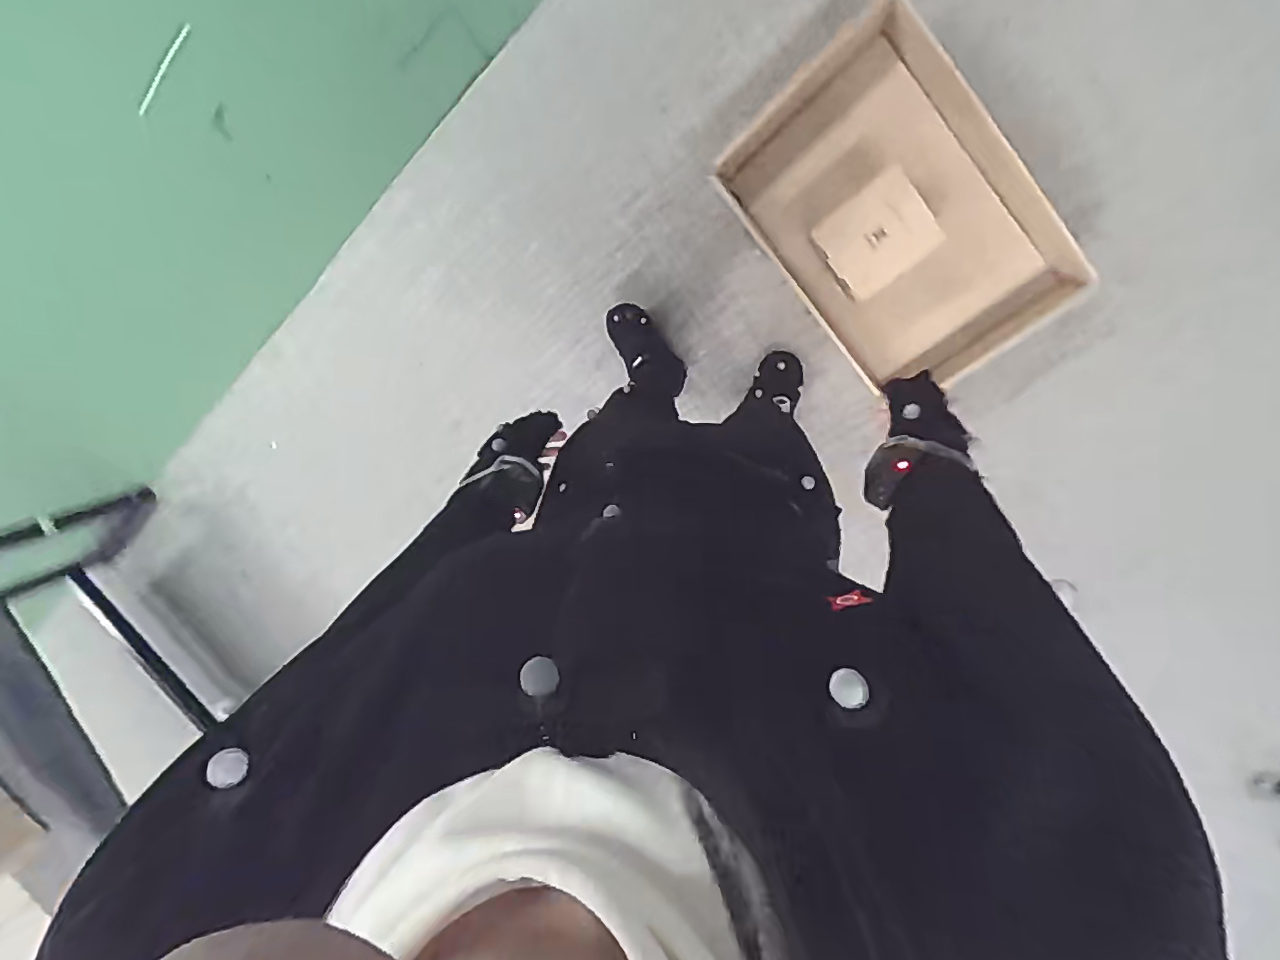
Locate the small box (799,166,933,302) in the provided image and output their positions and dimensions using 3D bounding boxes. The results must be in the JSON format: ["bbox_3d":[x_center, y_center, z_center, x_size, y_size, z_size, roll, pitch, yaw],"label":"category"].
[{"bbox_3d":[0.433,-0.470,1.064,0.179,0.176,0.168,-36,98,22],"label":"small box"}]
